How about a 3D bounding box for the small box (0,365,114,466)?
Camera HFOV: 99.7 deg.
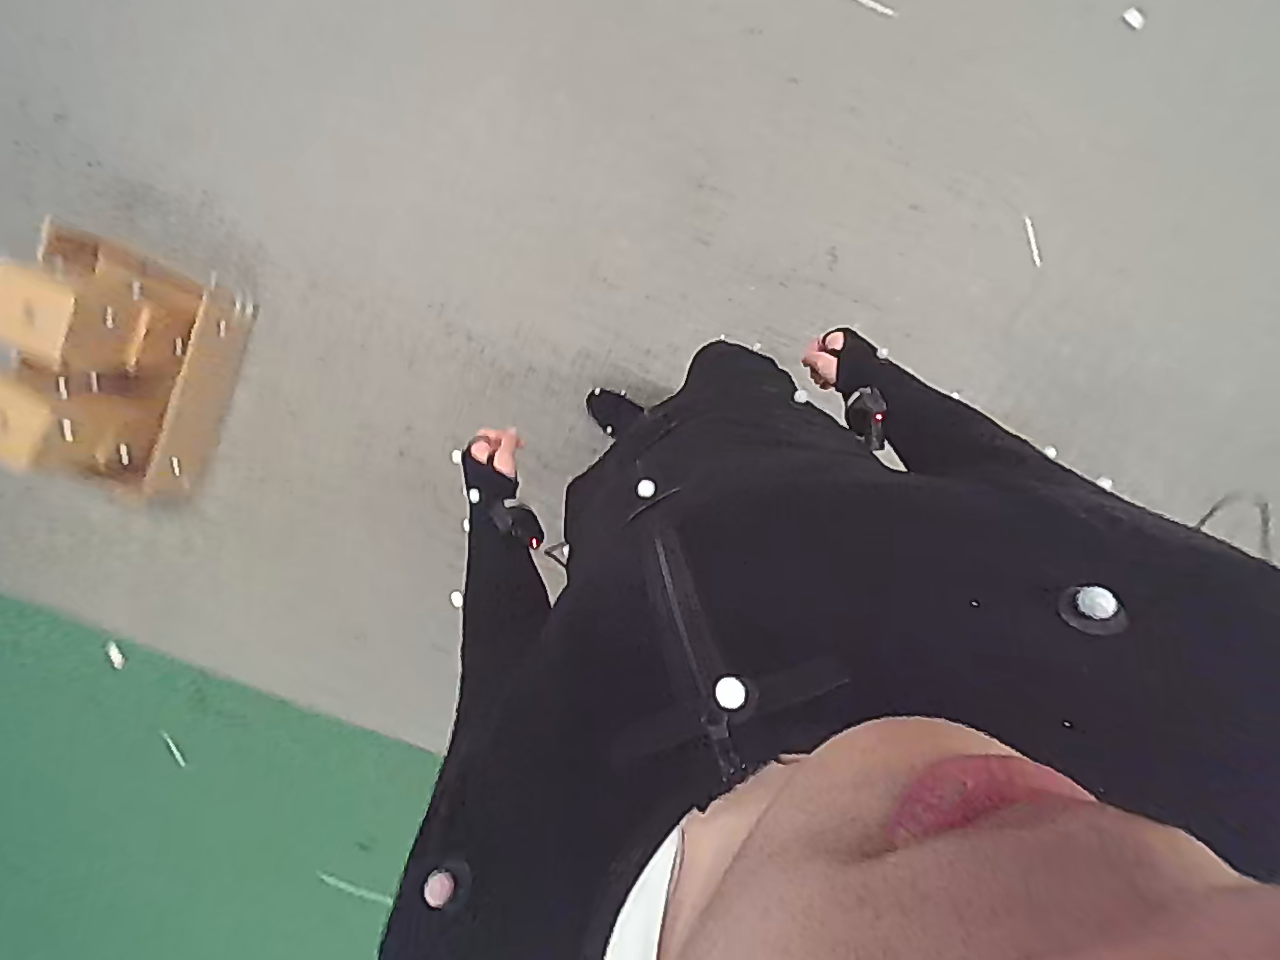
[{"bbox_3d":[-1.417,-0.159,1.278,0.168,0.176,0.179,35,98,-6],"label":"small box"}]
